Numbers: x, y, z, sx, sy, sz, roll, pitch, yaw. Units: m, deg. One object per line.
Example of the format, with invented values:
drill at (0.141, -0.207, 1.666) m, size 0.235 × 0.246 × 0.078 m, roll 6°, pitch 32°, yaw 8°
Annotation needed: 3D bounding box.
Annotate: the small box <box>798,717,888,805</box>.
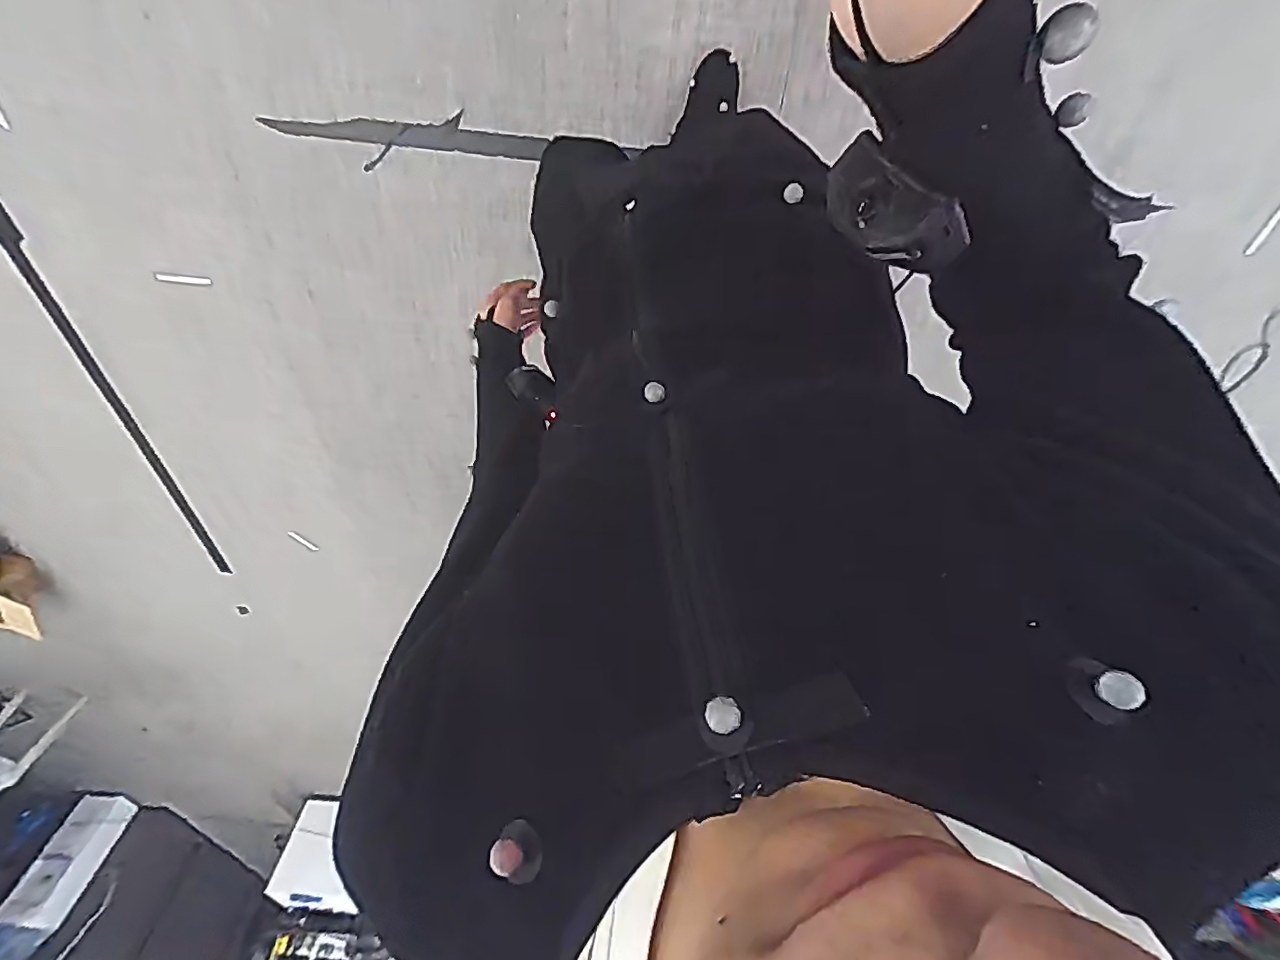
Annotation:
small box at (0.569, 0.803, 1.548) m, size 0.168 × 0.176 × 0.179 m, roll 10°, pitch 130°, yaw -5°
